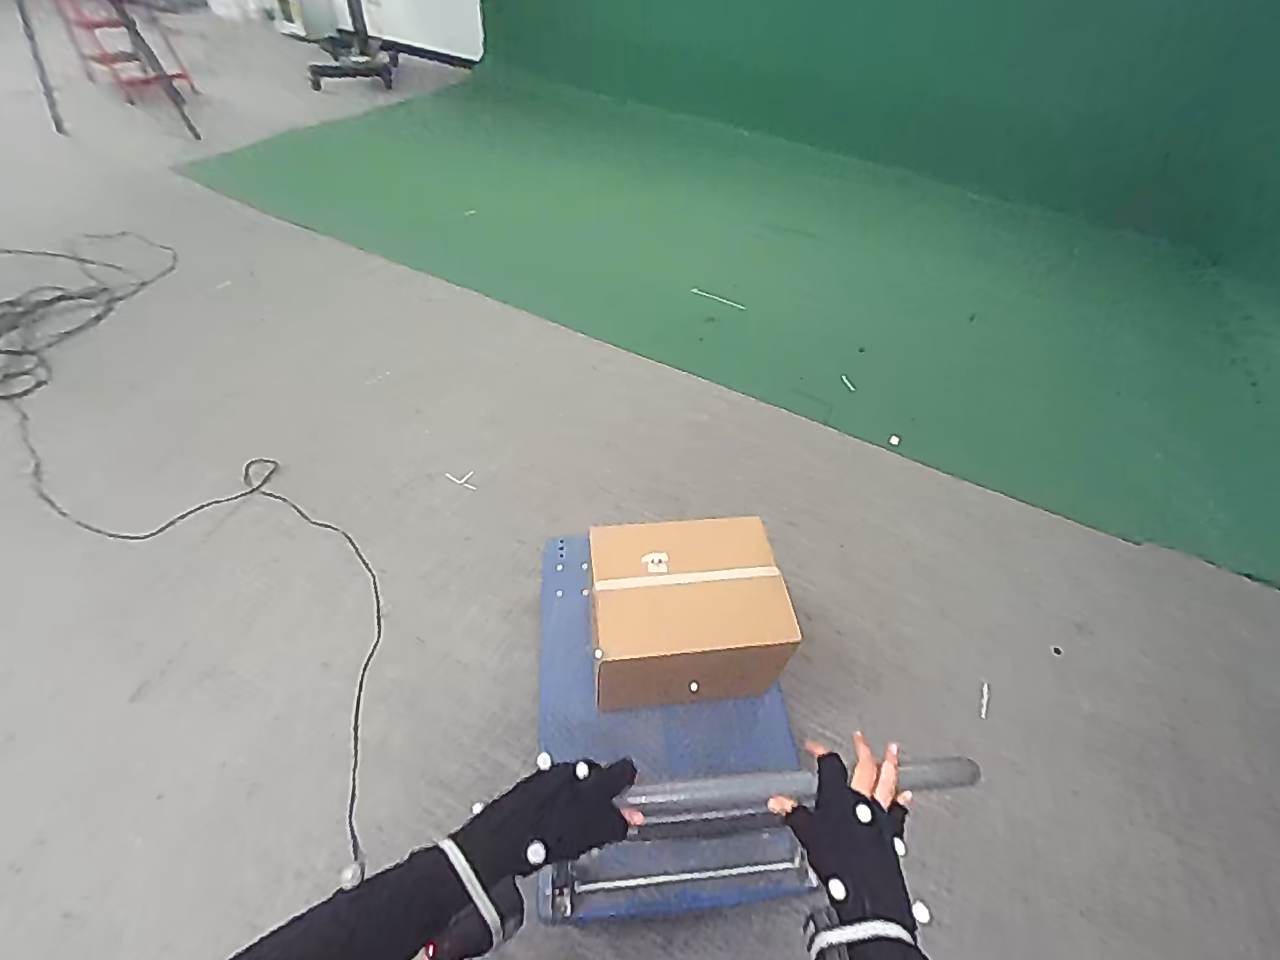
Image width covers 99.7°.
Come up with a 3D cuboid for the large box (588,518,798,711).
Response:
[{"bbox_3d":[0.095,0.316,1.267,0.408,0.320,0.320,-4,49,-8],"label":"large box"}]
